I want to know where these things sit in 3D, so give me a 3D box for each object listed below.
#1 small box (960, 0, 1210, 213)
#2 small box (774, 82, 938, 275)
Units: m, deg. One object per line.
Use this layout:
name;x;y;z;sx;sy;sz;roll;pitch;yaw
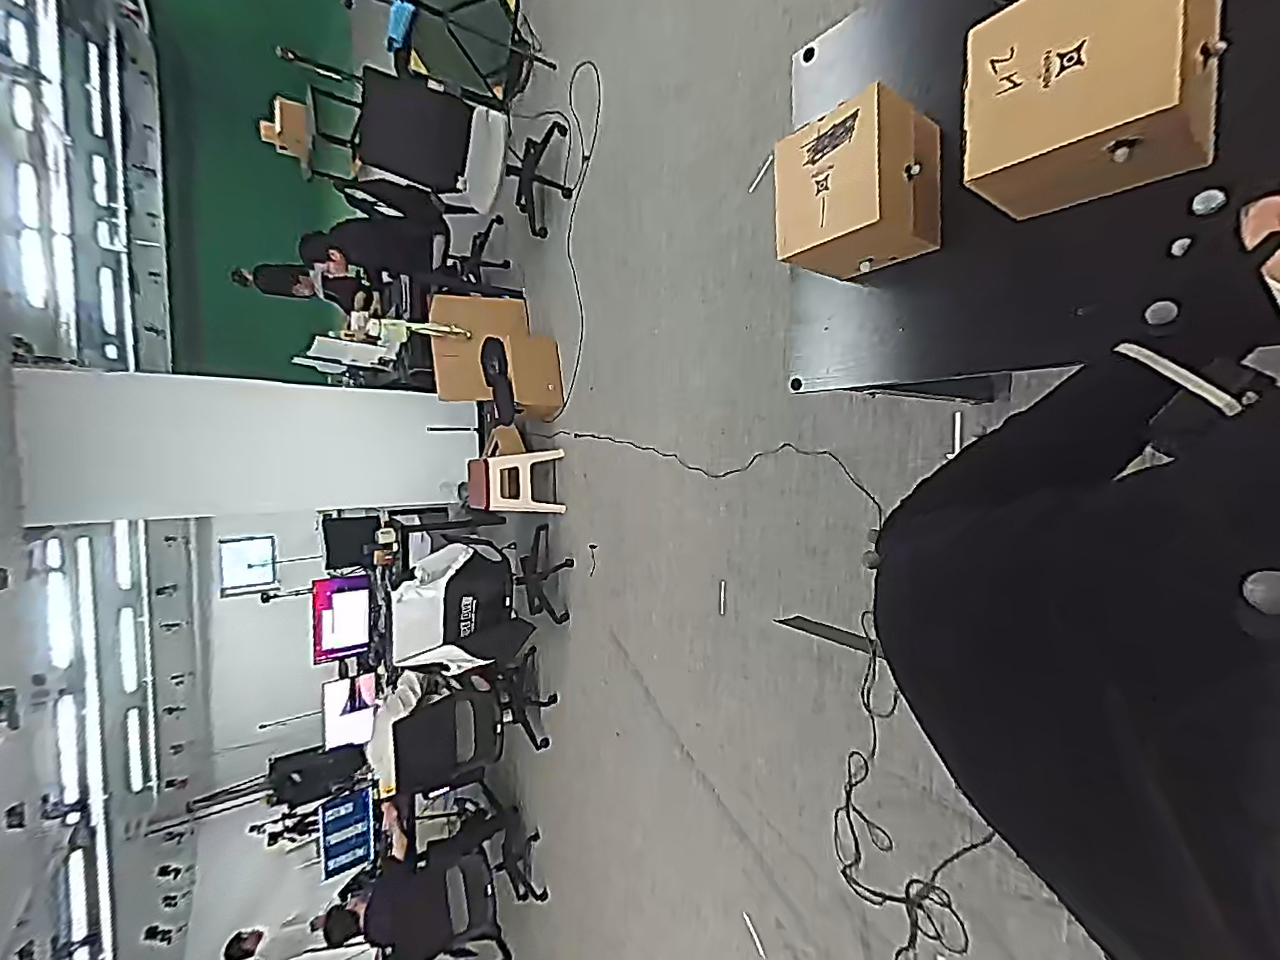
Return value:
small box;0.476;-0.415;0.582;0.179;0.176;0.168;4;95;54
small box;0.317;-0.424;0.797;0.168;0.176;0.179;1;94;54
